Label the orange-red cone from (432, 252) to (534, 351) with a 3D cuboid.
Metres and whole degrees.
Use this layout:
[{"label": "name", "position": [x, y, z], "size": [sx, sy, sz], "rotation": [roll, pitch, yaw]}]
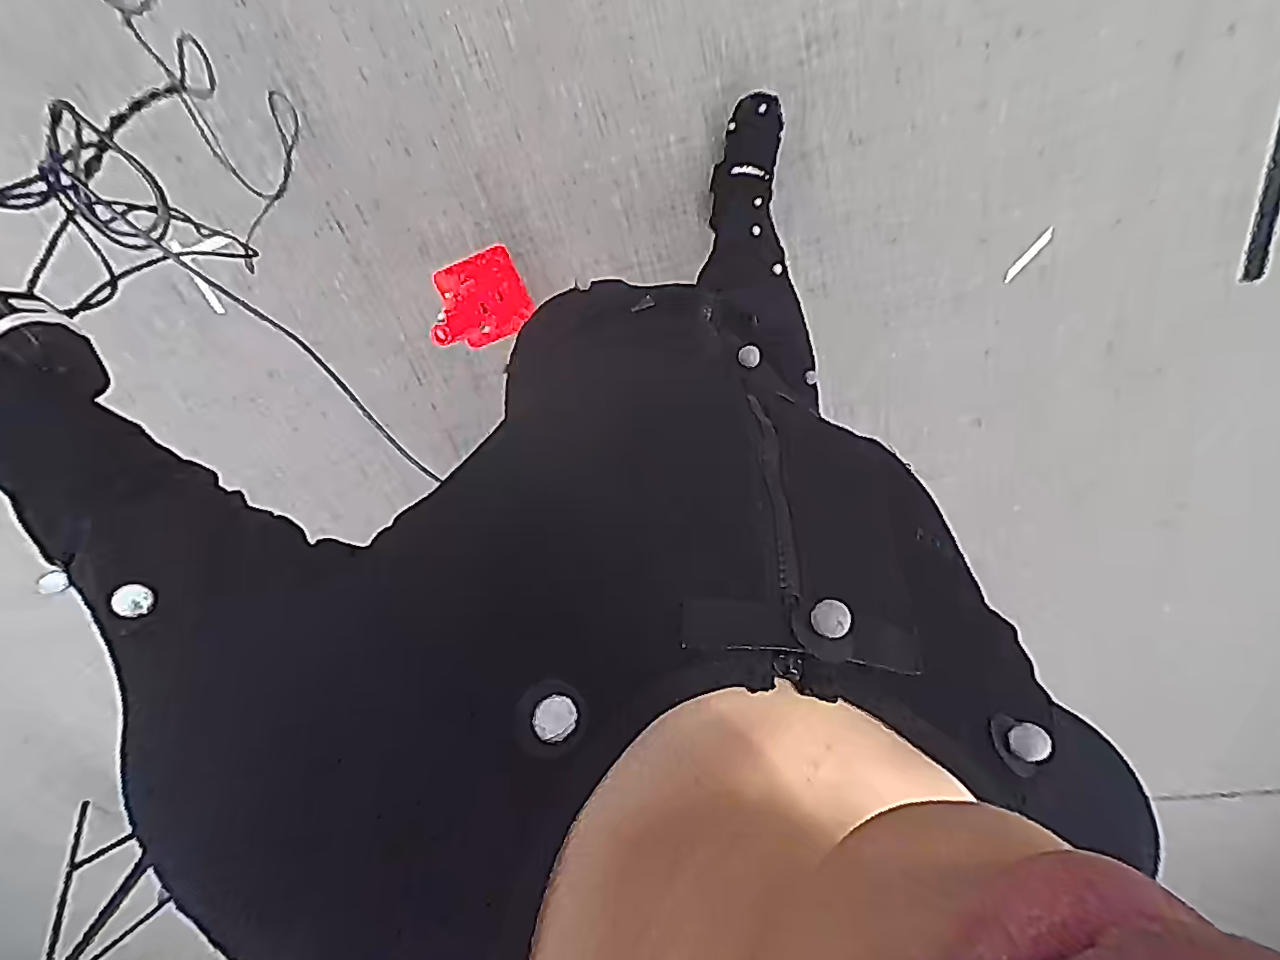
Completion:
[{"label": "orange-red cone", "position": [-0.372, -0.346, 1.157], "size": [0.199, 0.360, 0.198], "rotation": [-19, 118, 8]}]
